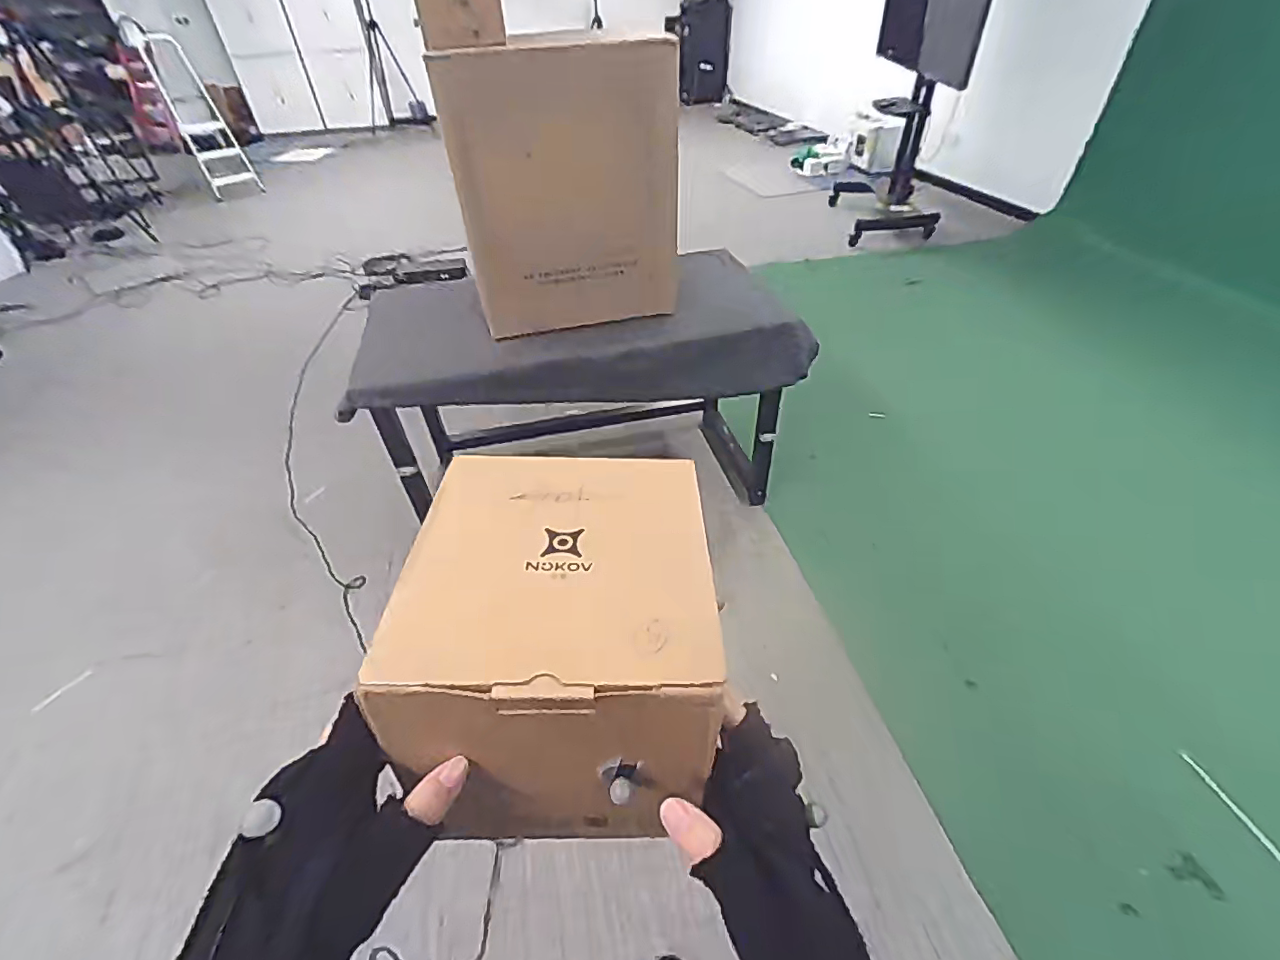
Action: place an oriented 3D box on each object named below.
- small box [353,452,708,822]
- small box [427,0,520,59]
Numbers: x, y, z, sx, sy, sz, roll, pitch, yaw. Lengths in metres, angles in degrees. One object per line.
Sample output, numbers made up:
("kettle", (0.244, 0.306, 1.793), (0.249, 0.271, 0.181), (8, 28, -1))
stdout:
("small box", (-0.051, 0.099, 0.356), (0.168, 0.176, 0.179), (2, 36, -2))
("small box", (-0.346, -0.979, 1.109), (0.168, 0.176, 0.179), (-11, 45, -8))
